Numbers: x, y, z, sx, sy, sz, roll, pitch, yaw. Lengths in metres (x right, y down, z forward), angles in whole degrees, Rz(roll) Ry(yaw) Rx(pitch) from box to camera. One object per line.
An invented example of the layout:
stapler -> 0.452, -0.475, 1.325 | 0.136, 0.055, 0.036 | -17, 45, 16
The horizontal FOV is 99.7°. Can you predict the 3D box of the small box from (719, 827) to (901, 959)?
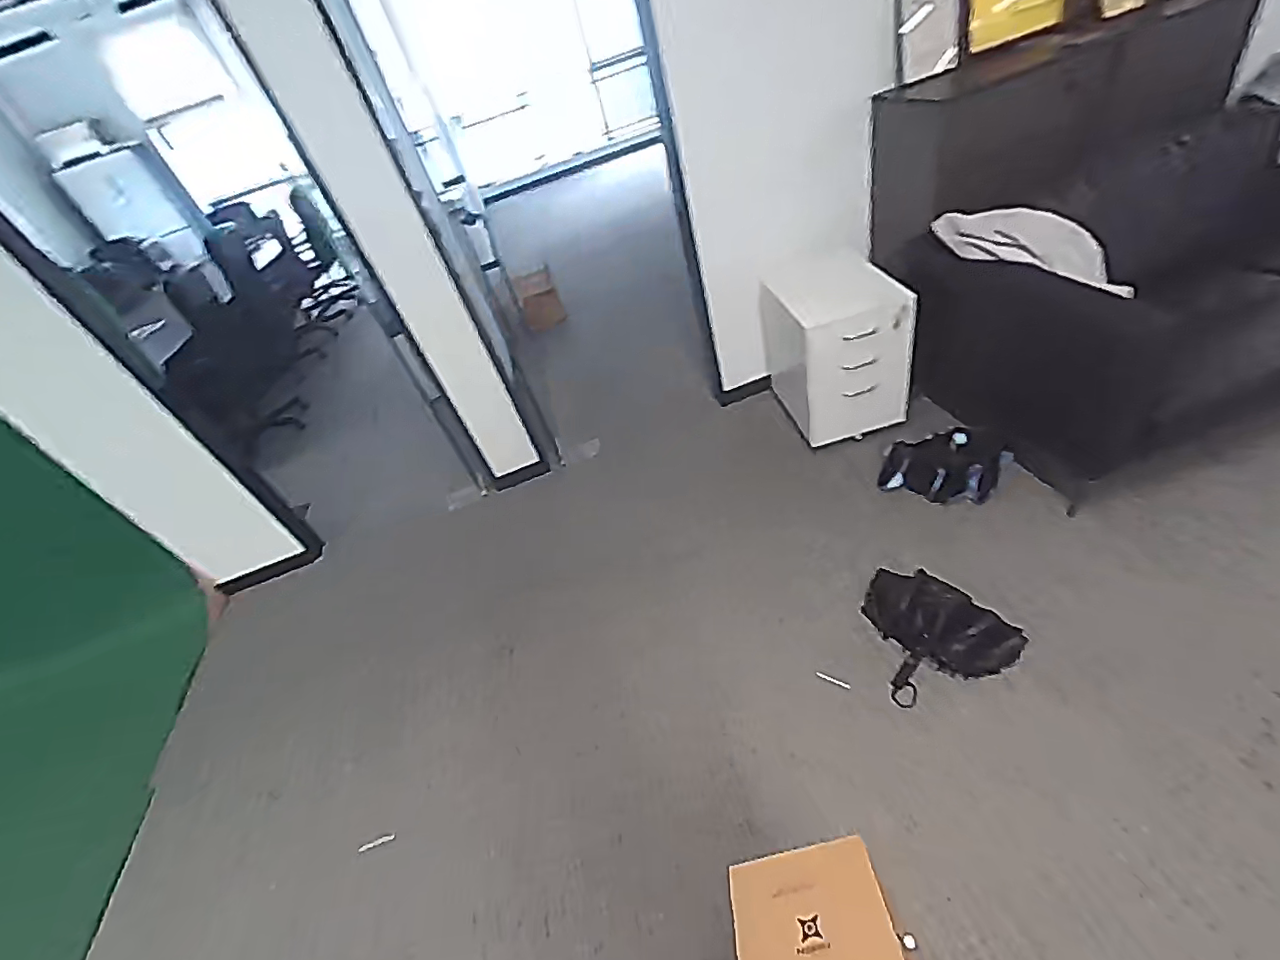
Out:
small box -> 0.199, 0.536, 0.593 | 0.168, 0.176, 0.179 | -21, 16, 9
